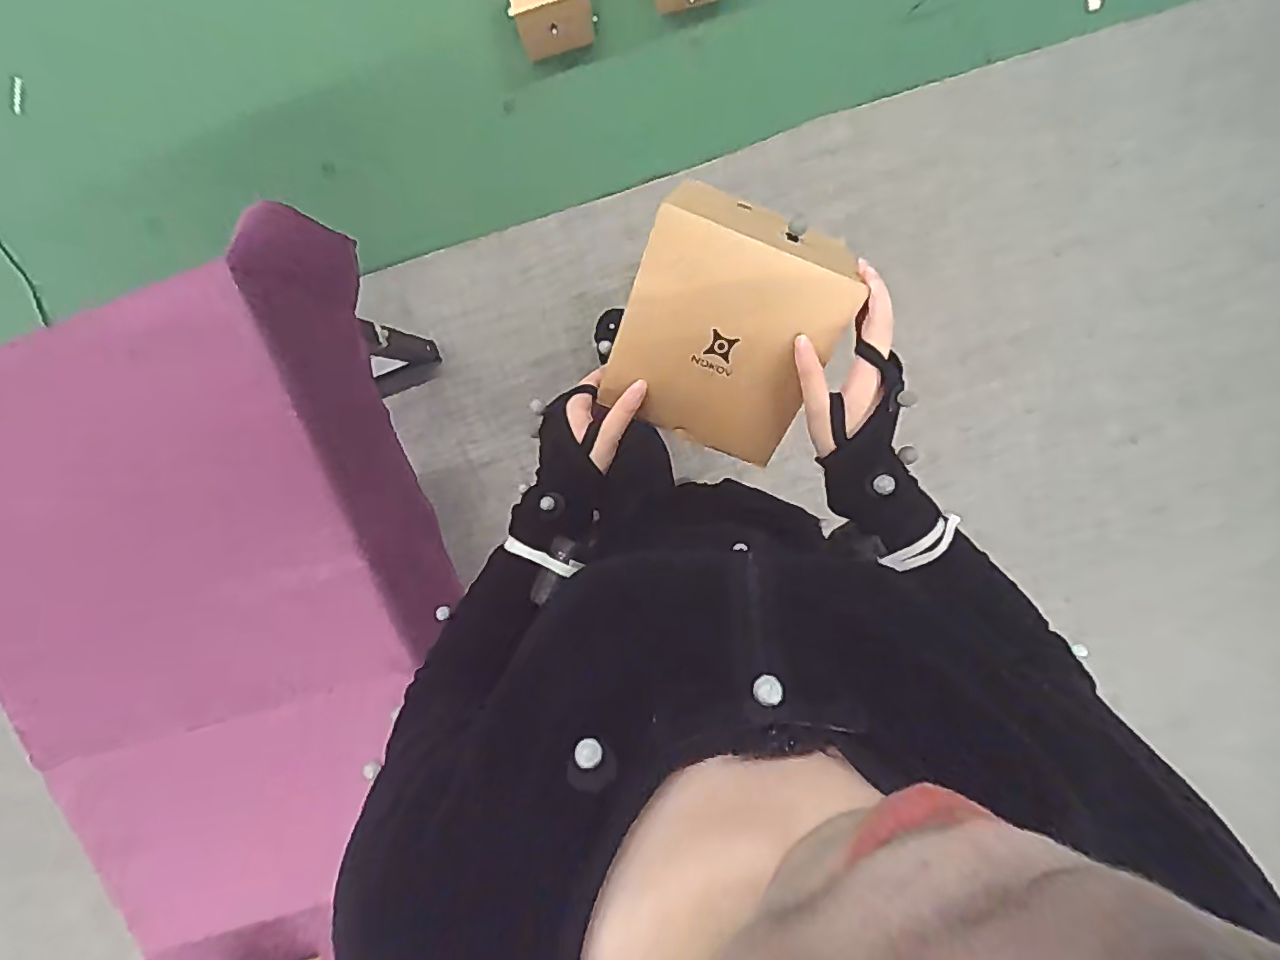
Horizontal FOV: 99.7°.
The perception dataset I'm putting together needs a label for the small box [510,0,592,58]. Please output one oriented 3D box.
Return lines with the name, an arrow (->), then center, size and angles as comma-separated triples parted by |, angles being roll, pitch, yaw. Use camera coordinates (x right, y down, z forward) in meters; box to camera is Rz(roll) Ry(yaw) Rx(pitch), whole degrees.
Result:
small box -> -0.215, -1.136, 1.254 | 0.179, 0.176, 0.168 | -15, 97, 4
